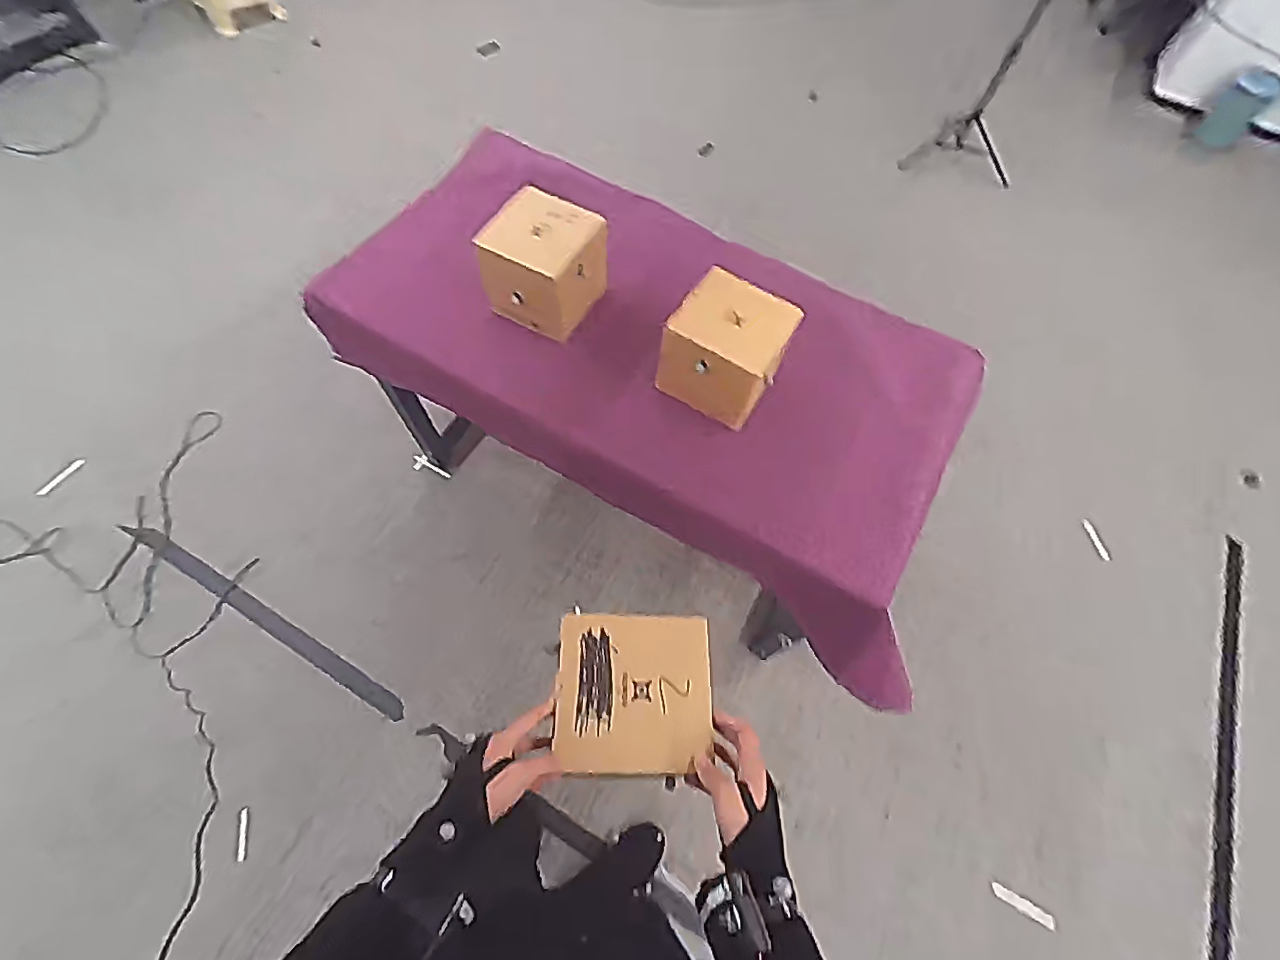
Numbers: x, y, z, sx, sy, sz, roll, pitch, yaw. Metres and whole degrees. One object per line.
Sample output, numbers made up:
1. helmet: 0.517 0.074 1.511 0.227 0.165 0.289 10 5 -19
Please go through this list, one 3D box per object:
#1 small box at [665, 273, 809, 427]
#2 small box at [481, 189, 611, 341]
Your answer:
1. small box: 0.160 -0.218 0.949 0.179 0.176 0.168 31 66 12
2. small box: -0.165 -0.394 1.011 0.168 0.176 0.179 28 65 9
